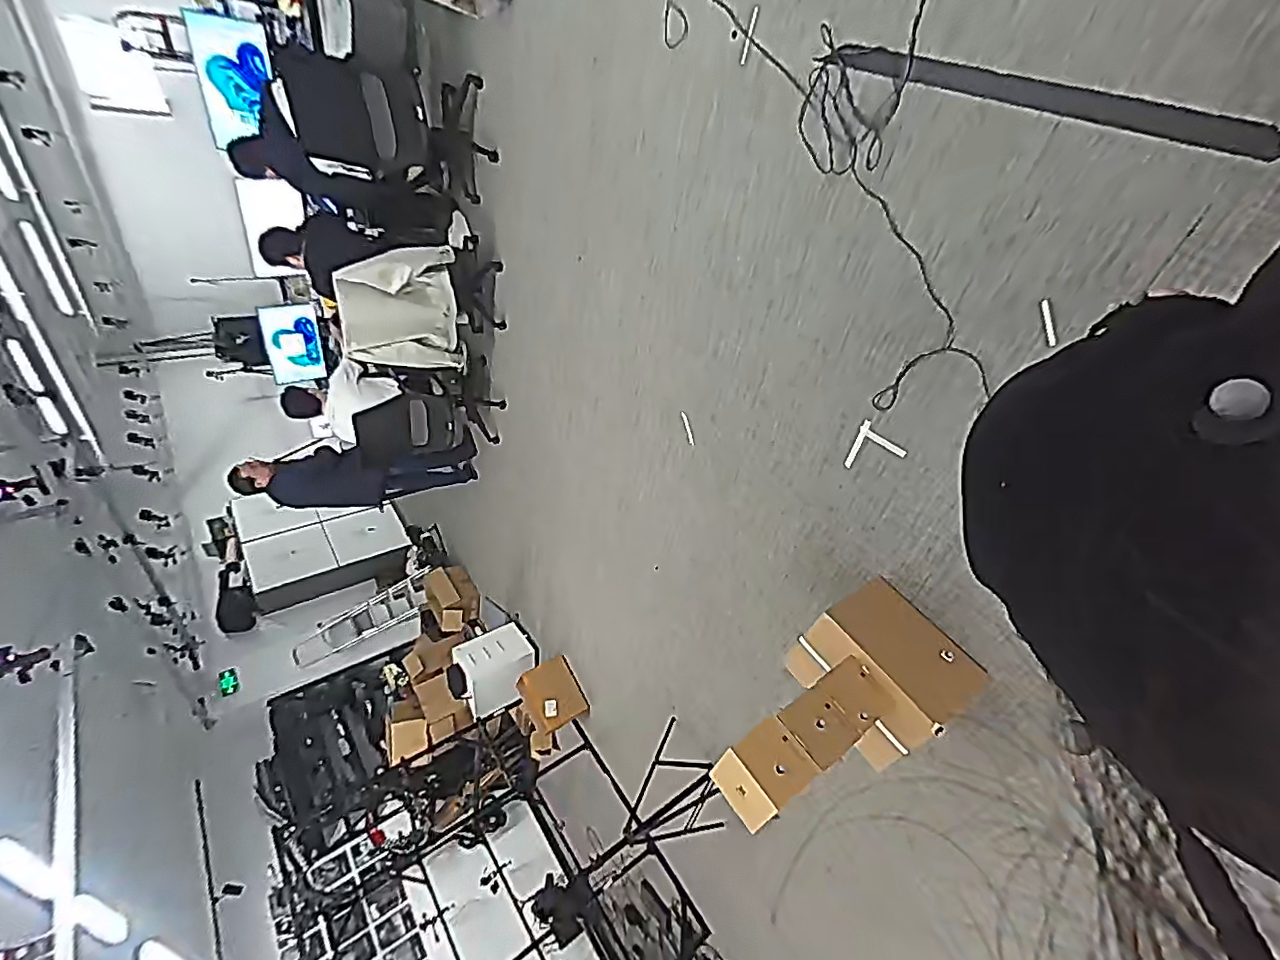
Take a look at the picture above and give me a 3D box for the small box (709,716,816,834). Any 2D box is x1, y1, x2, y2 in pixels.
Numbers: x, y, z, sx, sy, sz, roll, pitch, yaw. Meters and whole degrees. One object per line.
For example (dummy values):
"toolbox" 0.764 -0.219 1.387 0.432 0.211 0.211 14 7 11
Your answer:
"small box" 0.304 0.722 1.337 0.168 0.176 0.179 47 140 31

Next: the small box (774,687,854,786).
"small box" 0.433 0.682 1.428 0.168 0.176 0.179 49 139 30
